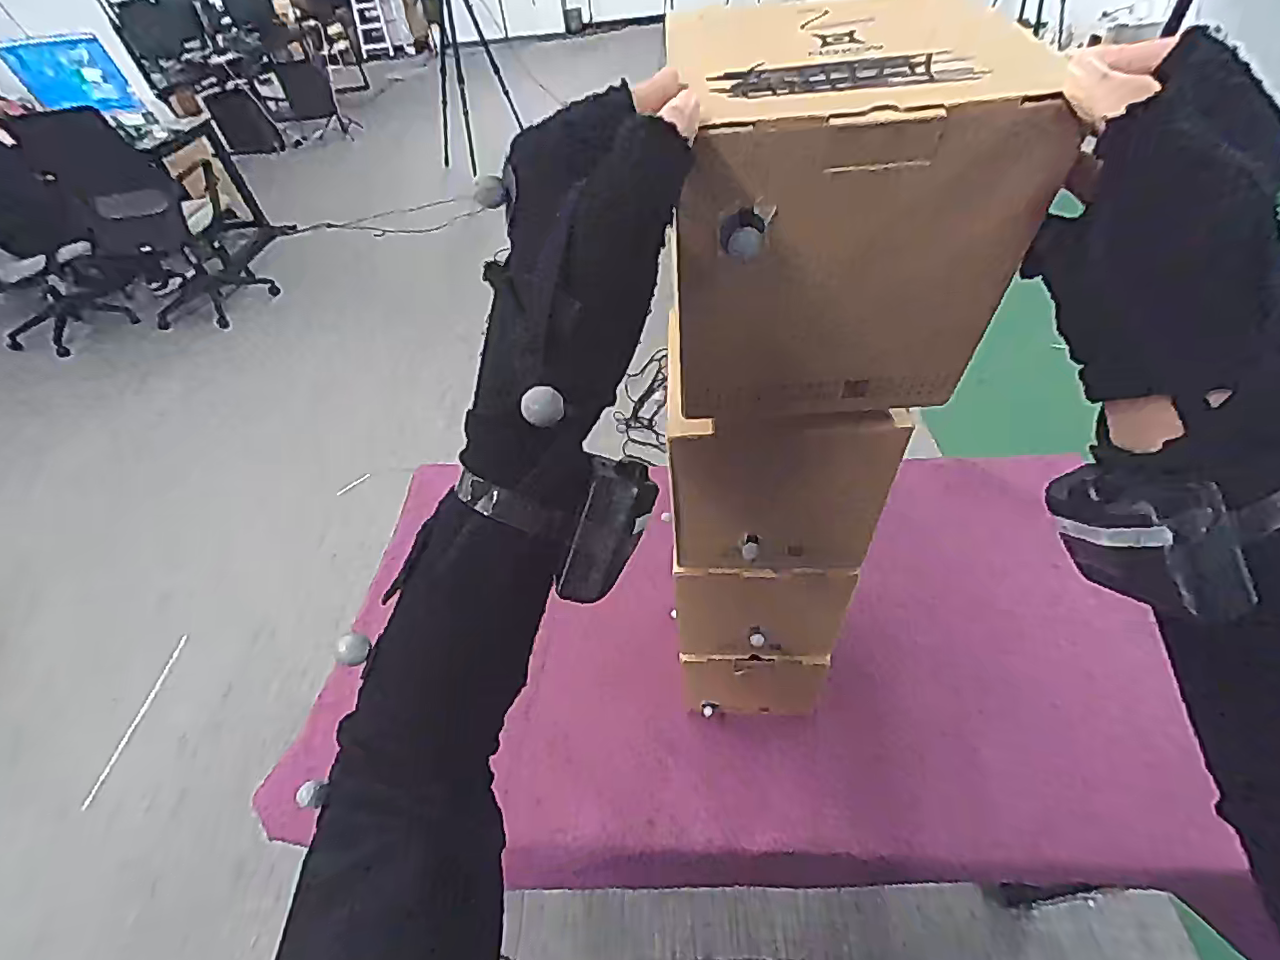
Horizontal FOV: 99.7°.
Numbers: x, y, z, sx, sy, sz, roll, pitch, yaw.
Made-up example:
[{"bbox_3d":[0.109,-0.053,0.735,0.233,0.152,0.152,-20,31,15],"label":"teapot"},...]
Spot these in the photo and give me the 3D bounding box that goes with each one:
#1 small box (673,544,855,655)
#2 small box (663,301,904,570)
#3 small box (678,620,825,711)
[{"bbox_3d":[0.123,0.075,0.602,0.168,0.176,0.179,-1,48,7],"label":"small box"},{"bbox_3d":[0.109,-0.039,0.486,0.168,0.176,0.179,-2,48,6],"label":"small box"},{"bbox_3d":[0.139,0.191,0.717,0.168,0.176,0.179,-1,47,6],"label":"small box"}]
